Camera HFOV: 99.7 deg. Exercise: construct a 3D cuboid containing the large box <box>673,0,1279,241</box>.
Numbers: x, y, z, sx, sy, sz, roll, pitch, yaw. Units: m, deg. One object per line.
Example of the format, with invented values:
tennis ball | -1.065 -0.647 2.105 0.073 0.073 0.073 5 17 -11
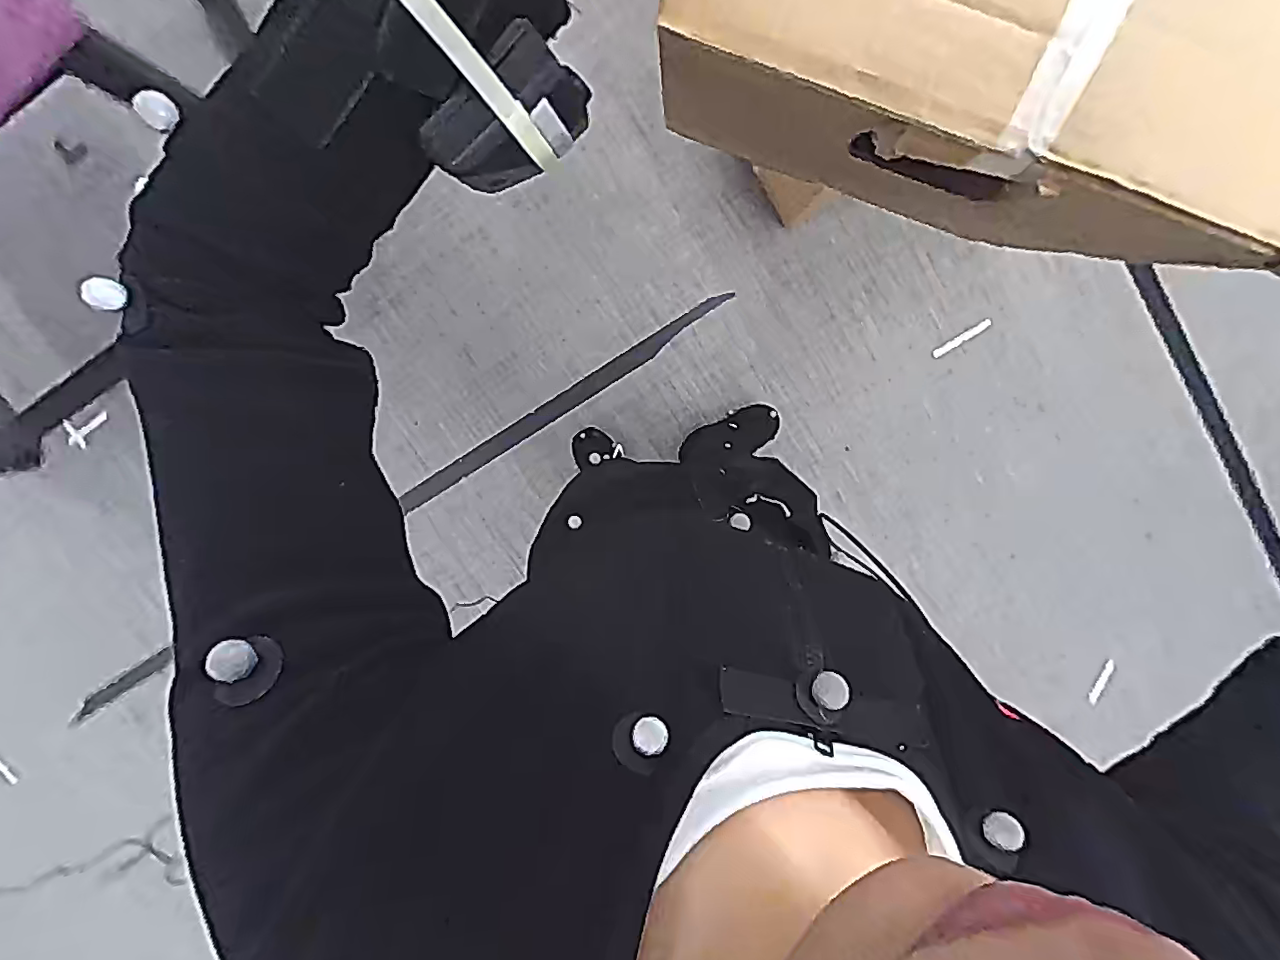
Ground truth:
large box | 0.217 -0.380 0.270 0.320 0.320 0.408 16 117 -4
